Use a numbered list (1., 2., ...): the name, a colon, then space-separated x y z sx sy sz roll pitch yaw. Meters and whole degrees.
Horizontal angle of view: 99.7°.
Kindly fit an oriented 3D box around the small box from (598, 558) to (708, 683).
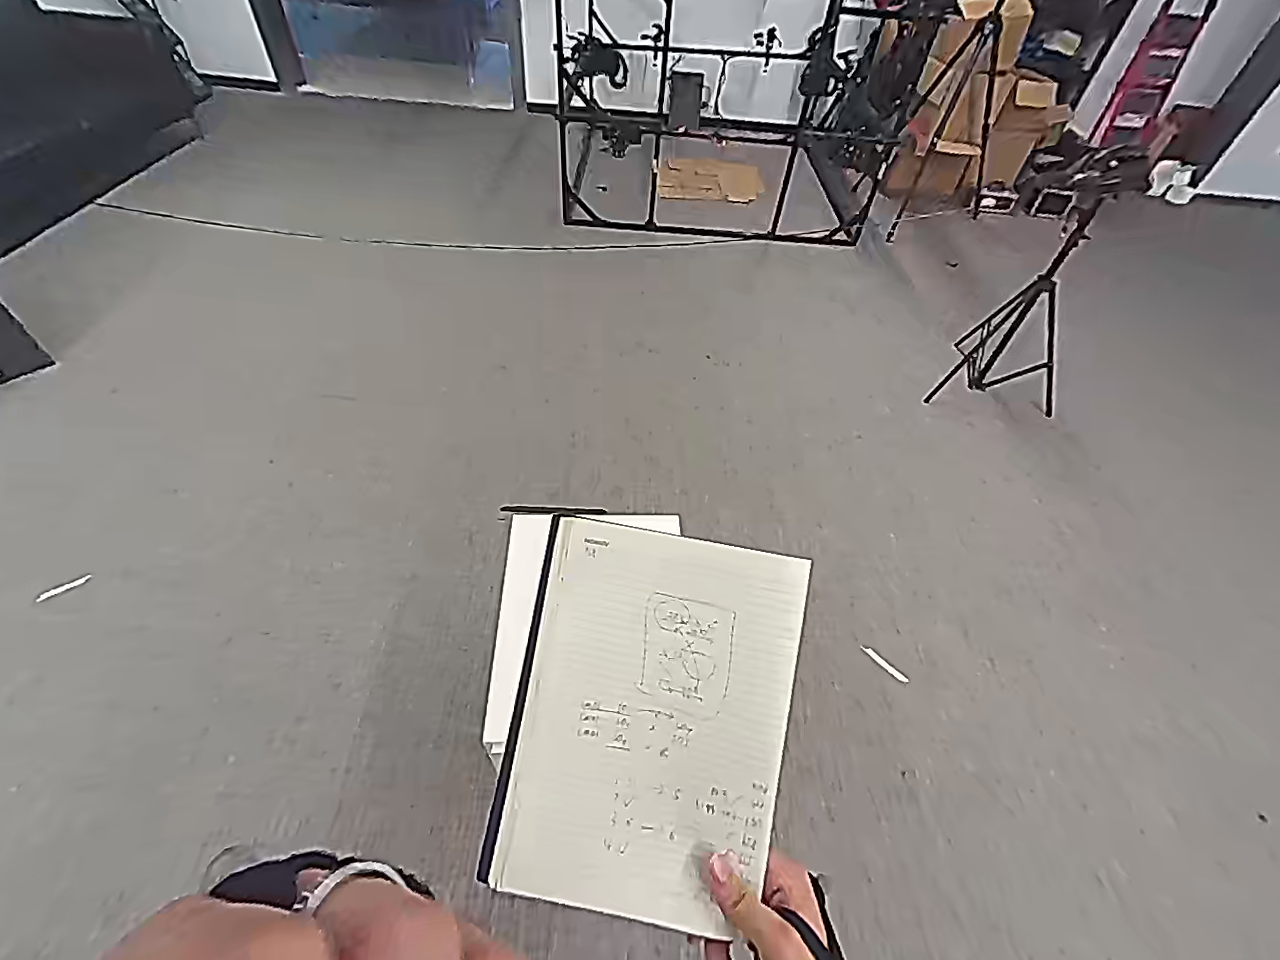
1. small box: 0.016 0.271 1.041 0.179 0.176 0.168 -6 49 -10
